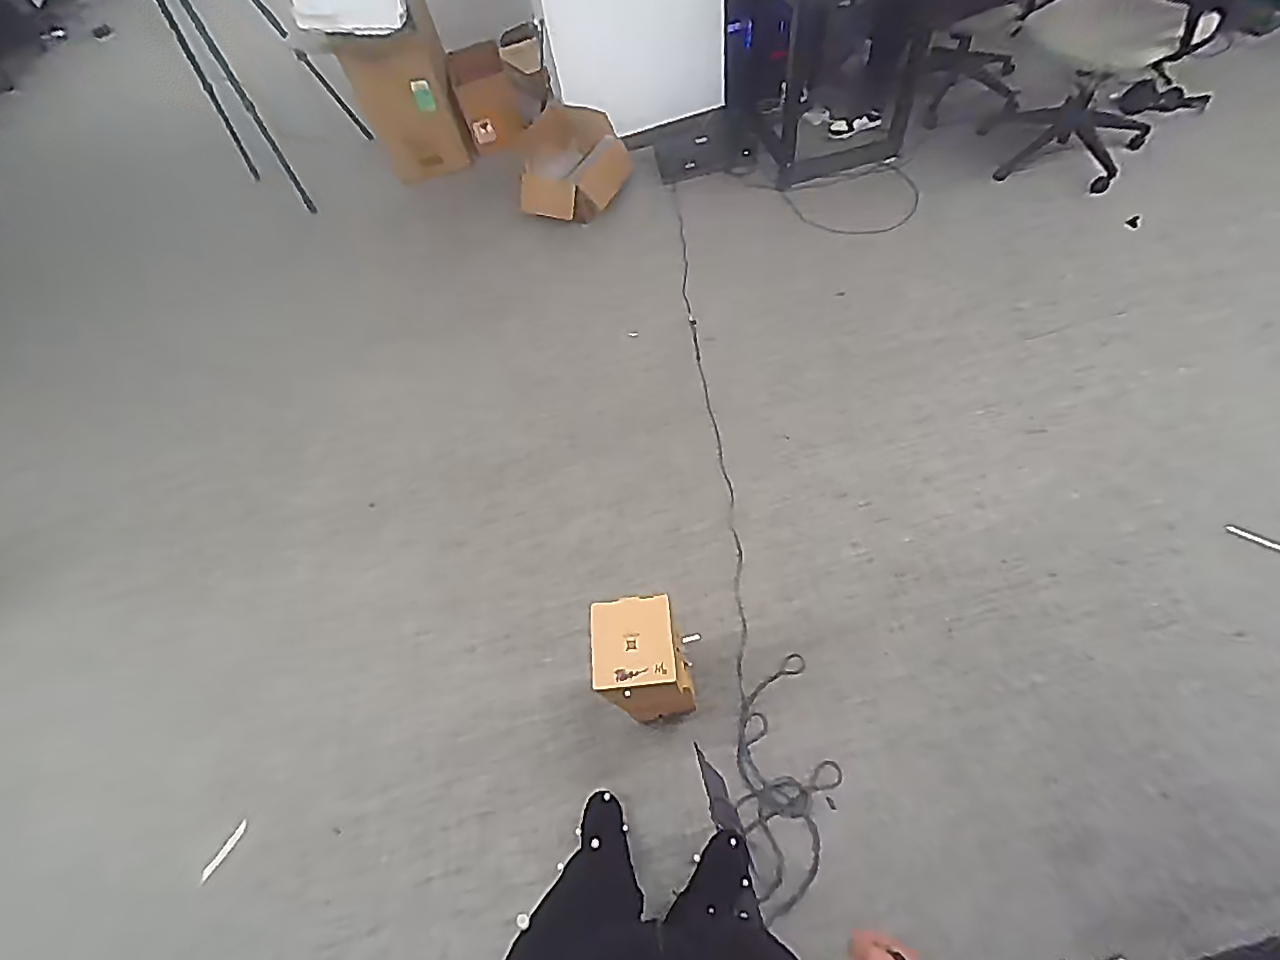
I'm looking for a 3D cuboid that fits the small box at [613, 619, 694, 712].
[{"bbox_3d":[0.023,0.443,1.289,0.179,0.176,0.168,-14,58,1],"label":"small box"}]

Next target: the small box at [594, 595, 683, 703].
[{"bbox_3d":[-0.002,0.363,1.148,0.168,0.176,0.179,-7,58,5],"label":"small box"}]

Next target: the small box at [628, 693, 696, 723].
[{"bbox_3d":[0.045,0.524,1.428,0.168,0.176,0.179,-15,59,1],"label":"small box"}]
